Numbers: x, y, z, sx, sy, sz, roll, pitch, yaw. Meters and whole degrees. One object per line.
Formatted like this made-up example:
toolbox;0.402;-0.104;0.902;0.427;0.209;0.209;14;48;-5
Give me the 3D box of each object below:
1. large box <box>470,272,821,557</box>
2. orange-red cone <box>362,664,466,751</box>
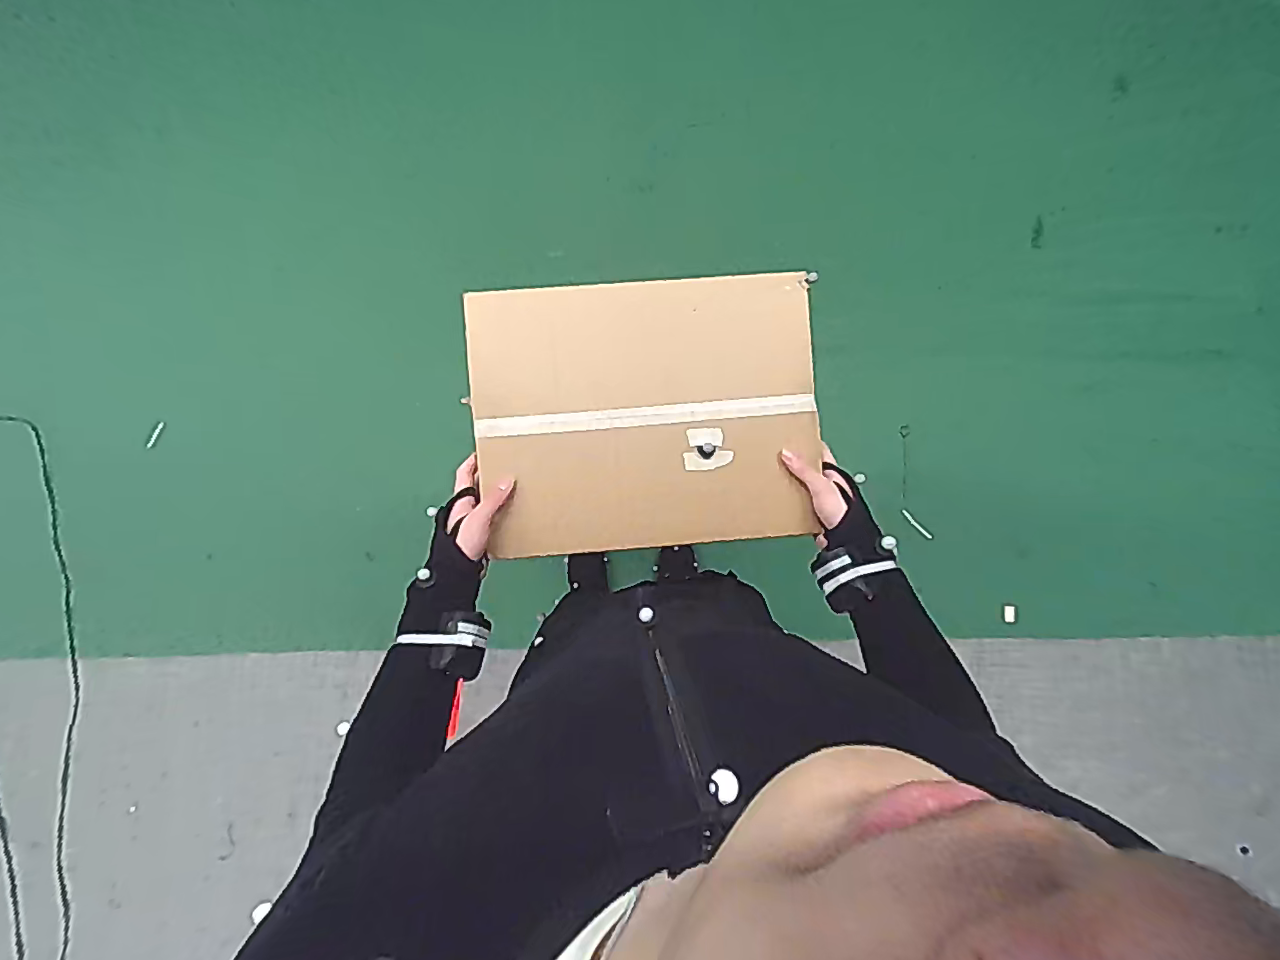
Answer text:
large box;0.002;-0.082;0.795;0.408;0.320;0.320;-5;92;-3
orange-red cone;-0.632;0.638;1.439;0.199;0.360;0.198;6;83;3
